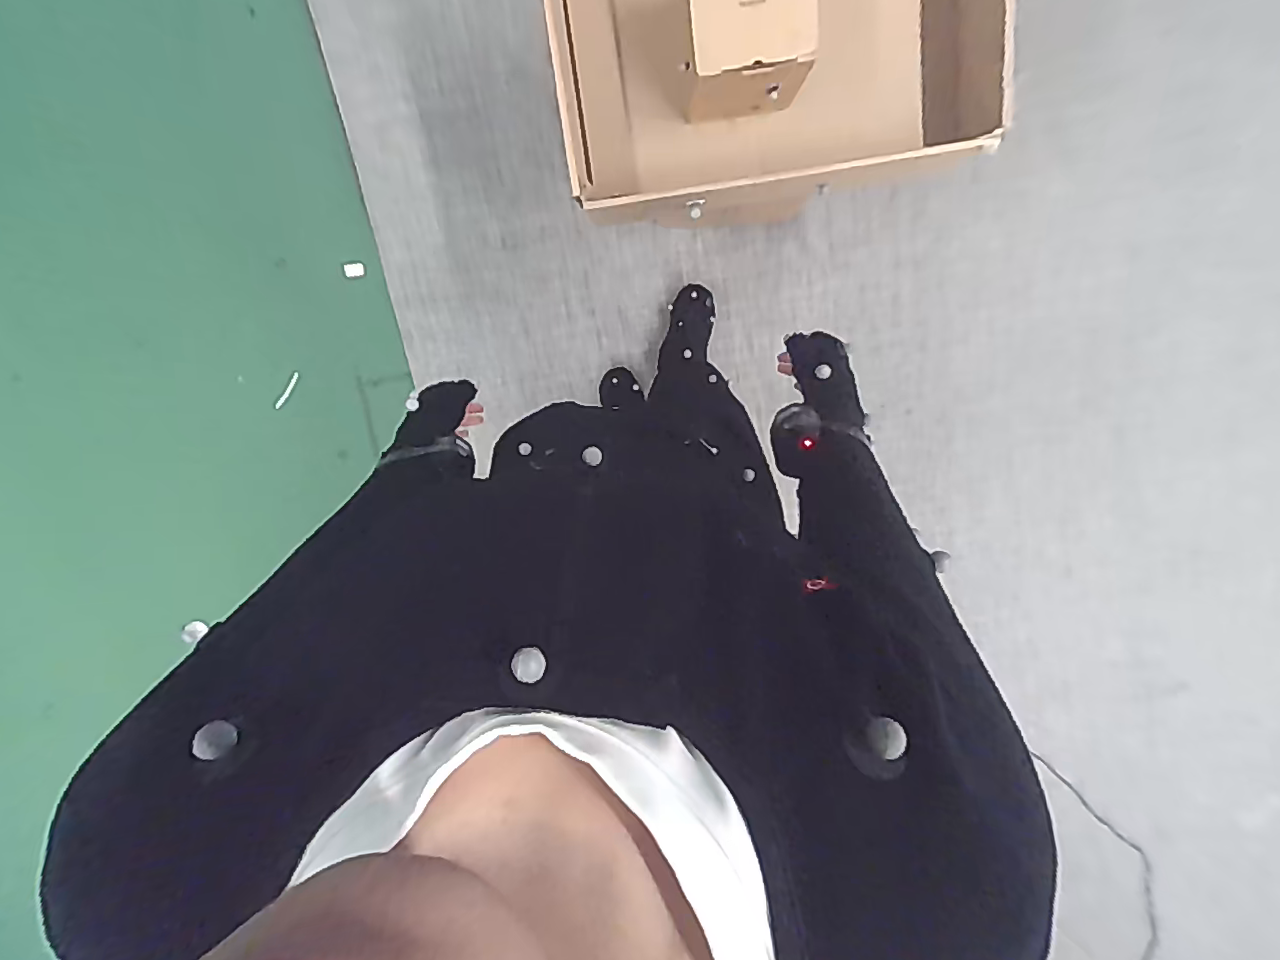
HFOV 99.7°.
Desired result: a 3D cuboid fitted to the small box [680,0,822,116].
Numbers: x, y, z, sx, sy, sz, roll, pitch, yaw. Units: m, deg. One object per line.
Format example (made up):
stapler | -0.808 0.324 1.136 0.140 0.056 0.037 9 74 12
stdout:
small box | 0.151 -0.653 0.776 0.168 0.176 0.179 -8 103 2
